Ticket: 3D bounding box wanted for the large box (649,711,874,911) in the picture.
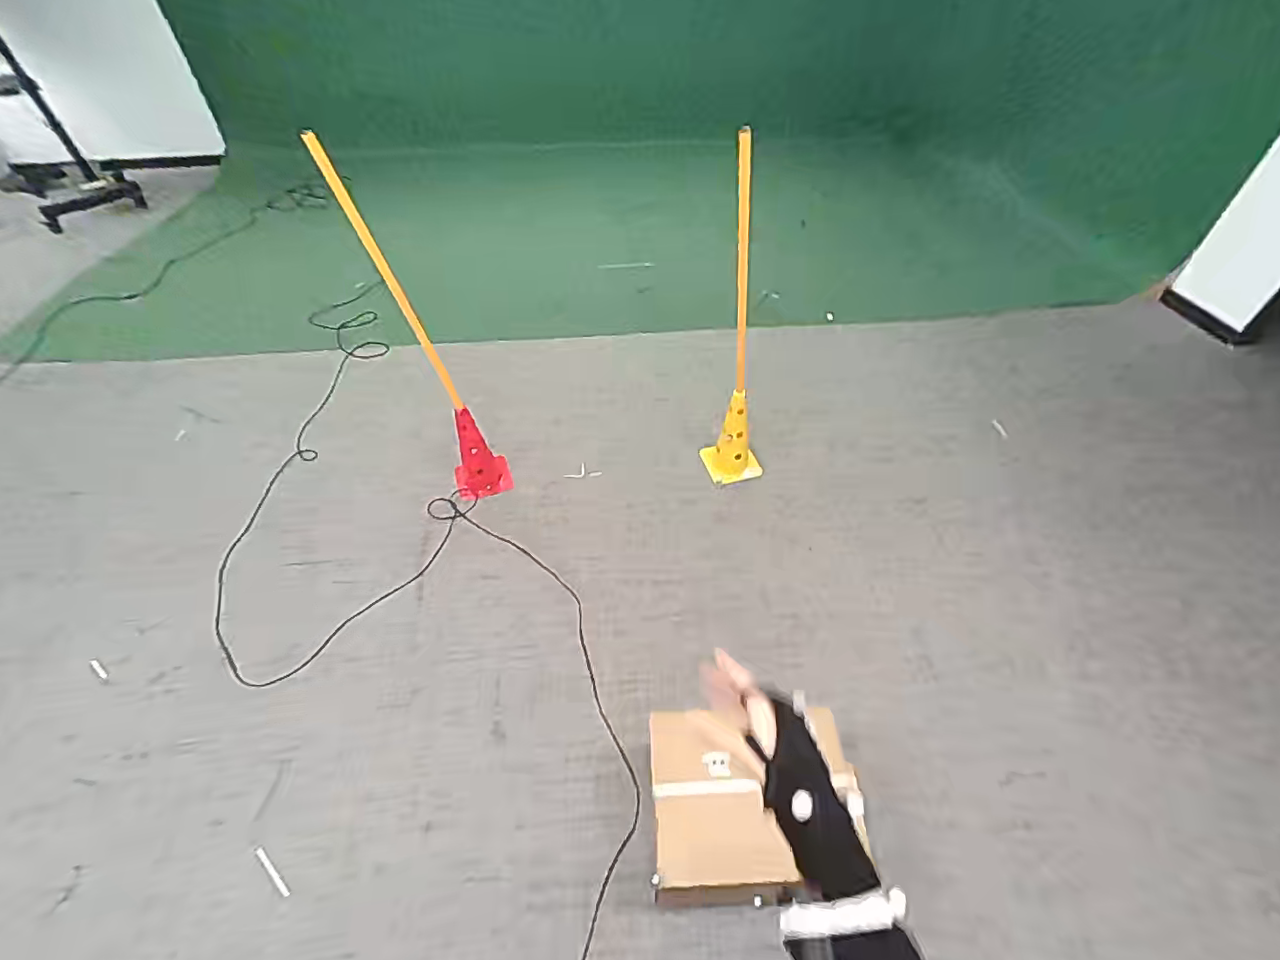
[{"bbox_3d":[0.231,0.733,1.194,0.408,0.320,0.320,-3,45,0],"label":"large box"}]
